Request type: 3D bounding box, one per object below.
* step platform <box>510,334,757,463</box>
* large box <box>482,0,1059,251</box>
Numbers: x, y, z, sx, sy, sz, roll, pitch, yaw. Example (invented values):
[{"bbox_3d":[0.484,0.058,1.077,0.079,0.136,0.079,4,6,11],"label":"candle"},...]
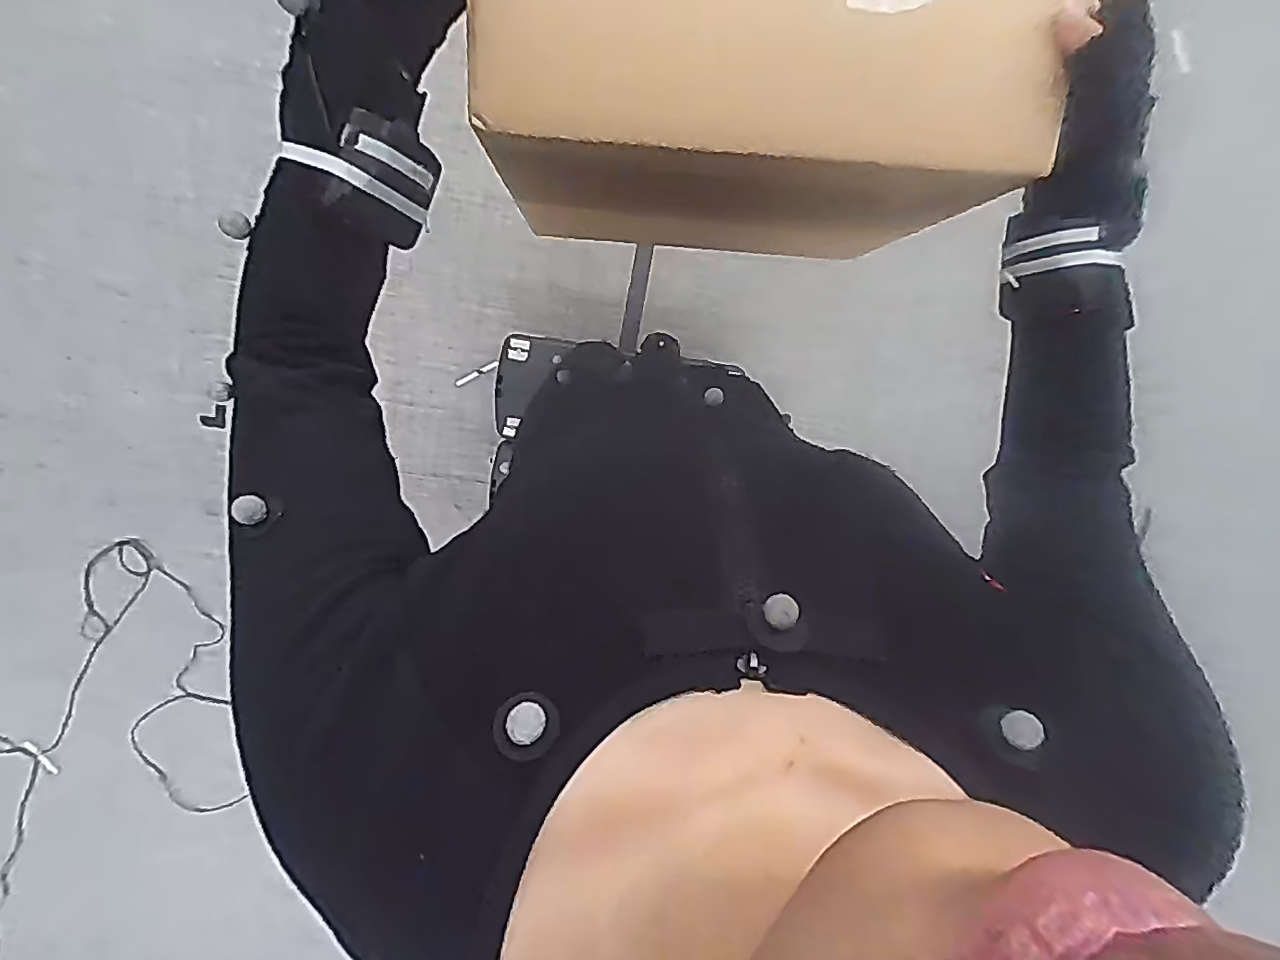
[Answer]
[{"bbox_3d":[-0.021,-0.229,1.534,0.684,0.204,0.286,6,101,-7],"label":"step platform"},{"bbox_3d":[0.084,-0.413,0.498,0.408,0.320,0.320,2,102,-5],"label":"large box"}]
